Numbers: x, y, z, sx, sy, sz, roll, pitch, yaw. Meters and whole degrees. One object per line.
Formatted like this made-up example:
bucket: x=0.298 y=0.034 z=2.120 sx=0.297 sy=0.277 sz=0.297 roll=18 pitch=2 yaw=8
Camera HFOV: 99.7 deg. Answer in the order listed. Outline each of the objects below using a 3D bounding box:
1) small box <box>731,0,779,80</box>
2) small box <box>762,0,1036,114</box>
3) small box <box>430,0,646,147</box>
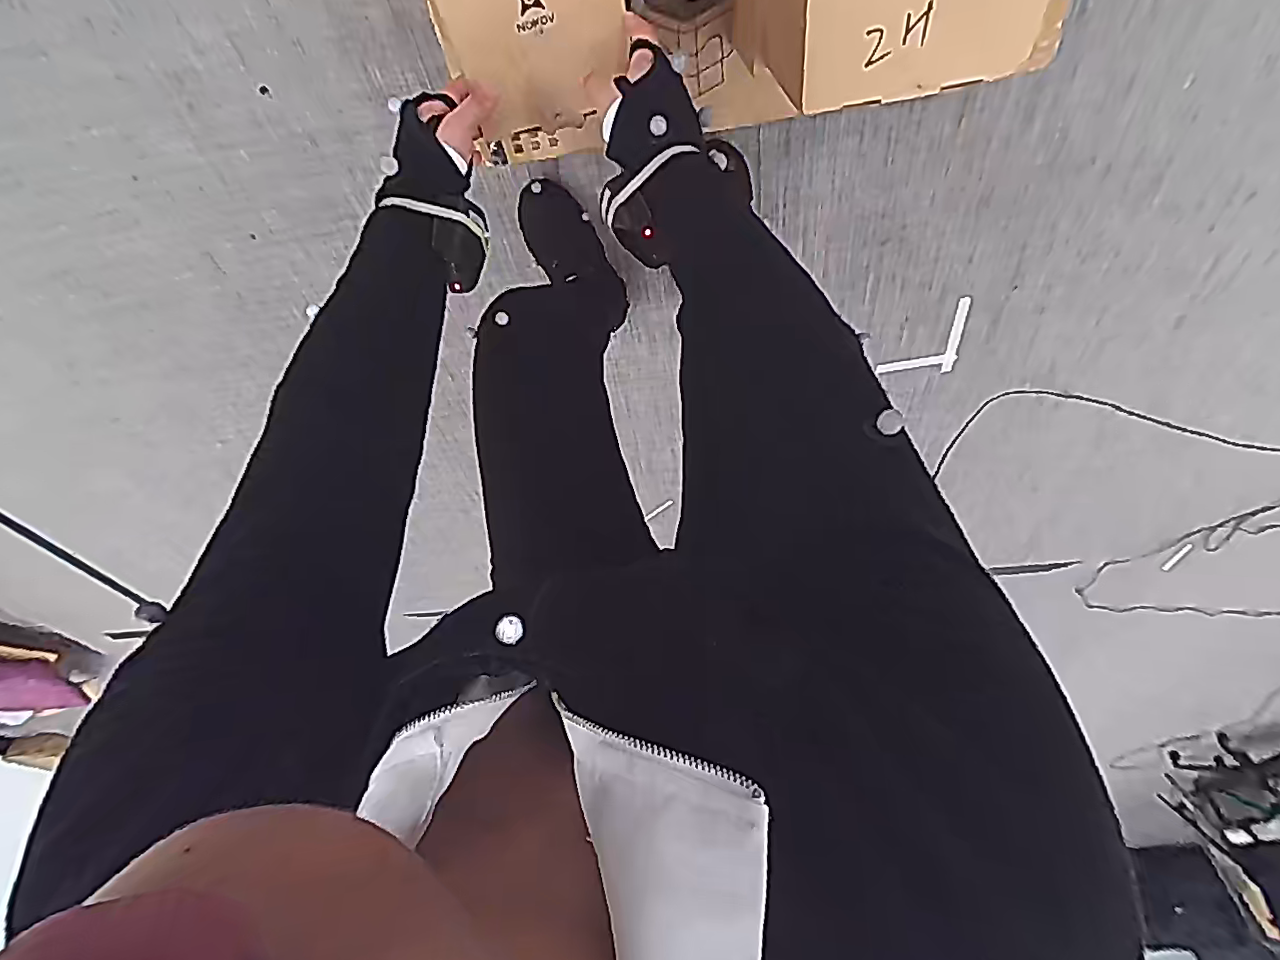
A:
small box: x=0.182 y=-0.524 z=0.530 sx=0.168 sy=0.176 sz=0.179 roll=-3 pitch=138 yaw=4
small box: x=0.187 y=-0.411 z=0.407 sx=0.168 sy=0.176 sz=0.179 roll=-6 pitch=138 yaw=7
small box: x=-0.093 y=-0.465 z=0.540 sx=0.168 sy=0.176 sz=0.179 roll=-6 pitch=130 yaw=12
